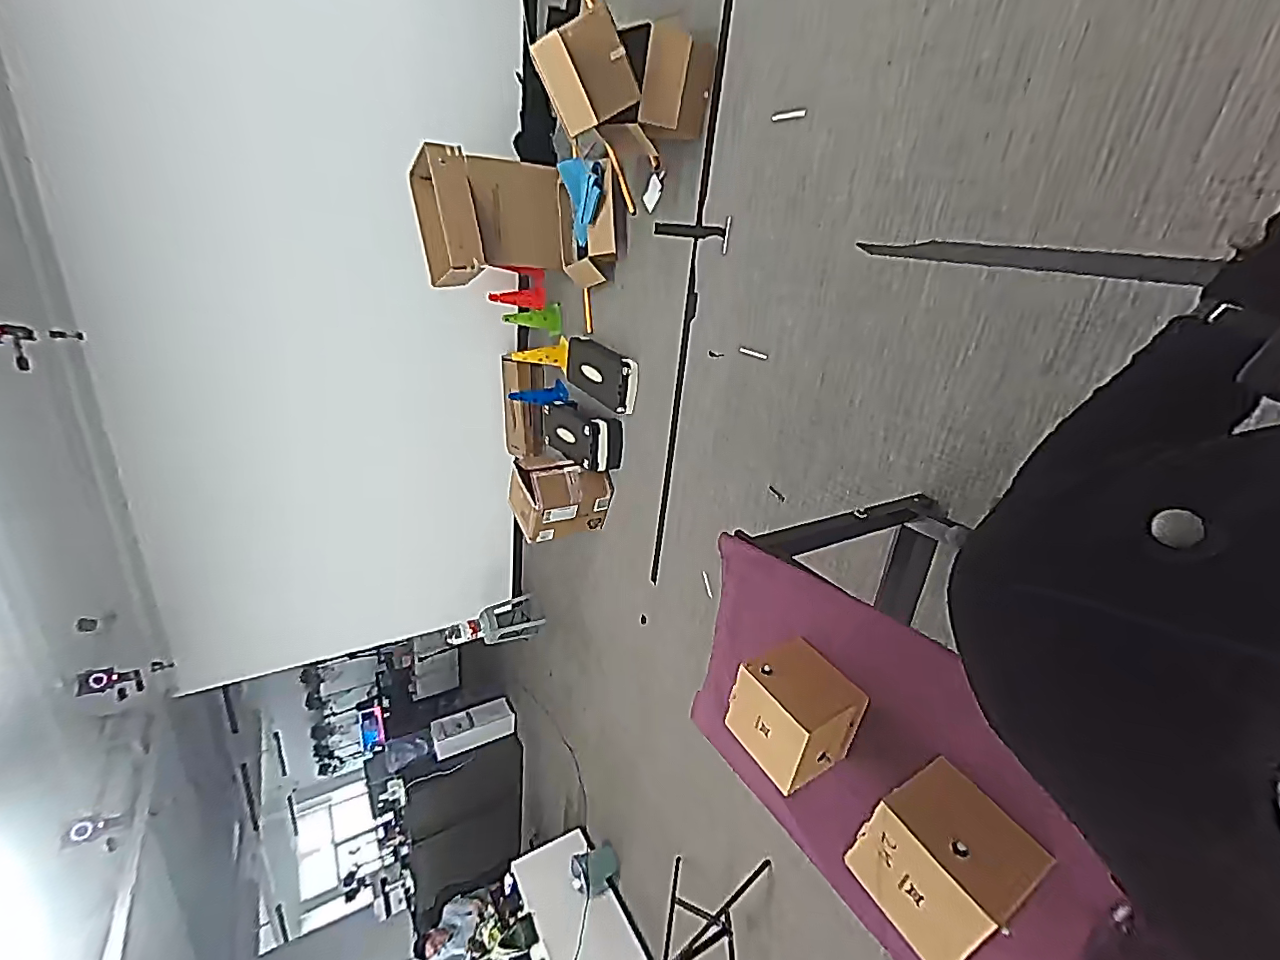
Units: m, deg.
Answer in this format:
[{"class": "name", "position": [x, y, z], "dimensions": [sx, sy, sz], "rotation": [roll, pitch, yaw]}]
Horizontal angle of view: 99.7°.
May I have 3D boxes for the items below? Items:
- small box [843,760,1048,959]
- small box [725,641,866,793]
[{"class": "small box", "position": [0.446, 0.559, 0.798], "dimensions": [0.179, 0.176, 0.168], "rotation": [45, 132, 45]}, {"class": "small box", "position": [0.291, 0.434, 1.021], "dimensions": [0.179, 0.176, 0.168], "rotation": [40, 131, 48]}]
